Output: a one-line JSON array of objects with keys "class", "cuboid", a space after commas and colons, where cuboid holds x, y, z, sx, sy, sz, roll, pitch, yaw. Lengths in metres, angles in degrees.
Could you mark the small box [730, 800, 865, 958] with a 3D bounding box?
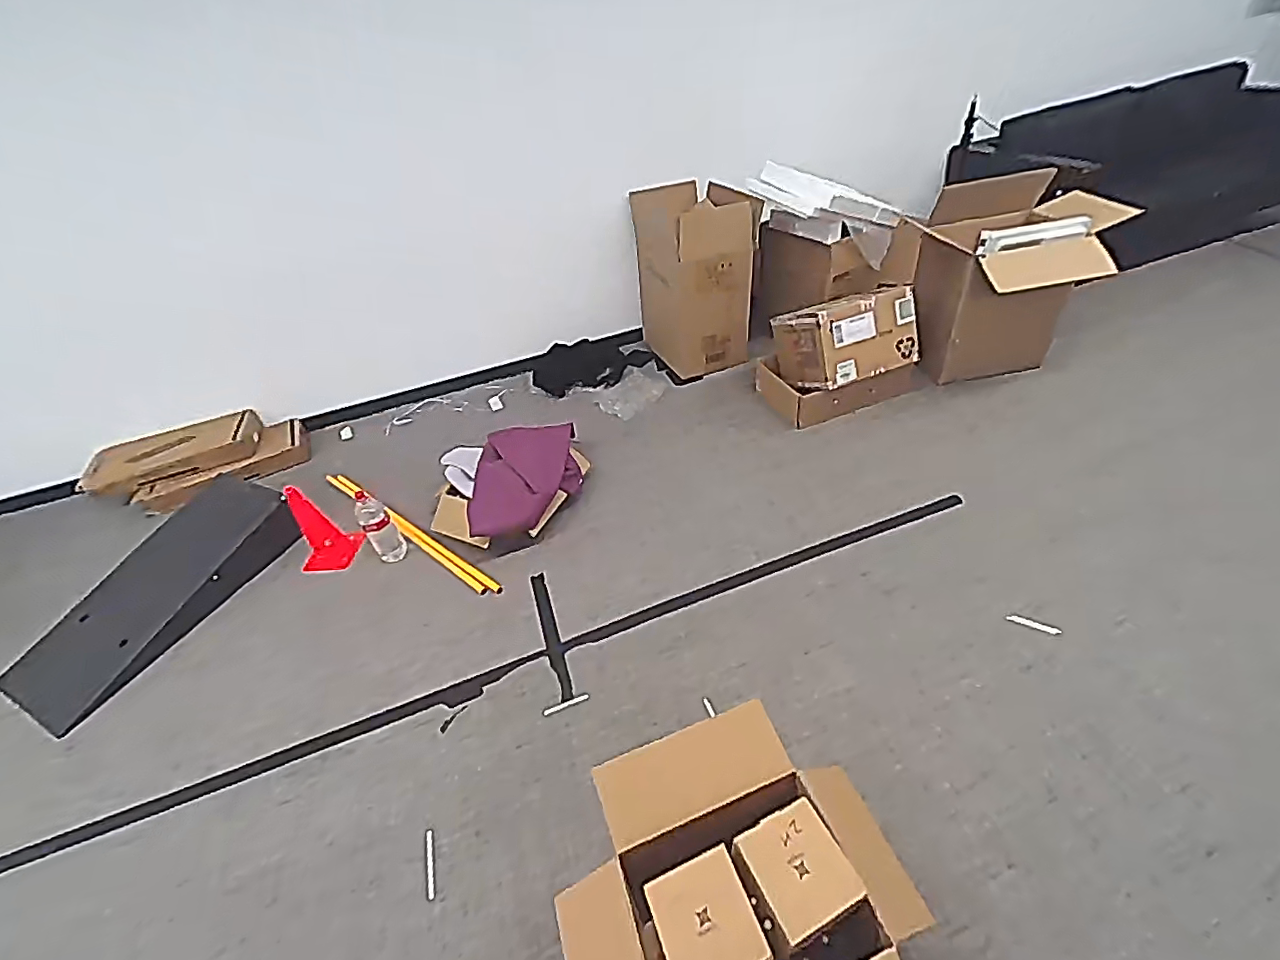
[{"class": "small box", "cuboid": [0.285, 0.753, 1.016, 0.168, 0.176, 0.179, -19, 42, -18]}]
